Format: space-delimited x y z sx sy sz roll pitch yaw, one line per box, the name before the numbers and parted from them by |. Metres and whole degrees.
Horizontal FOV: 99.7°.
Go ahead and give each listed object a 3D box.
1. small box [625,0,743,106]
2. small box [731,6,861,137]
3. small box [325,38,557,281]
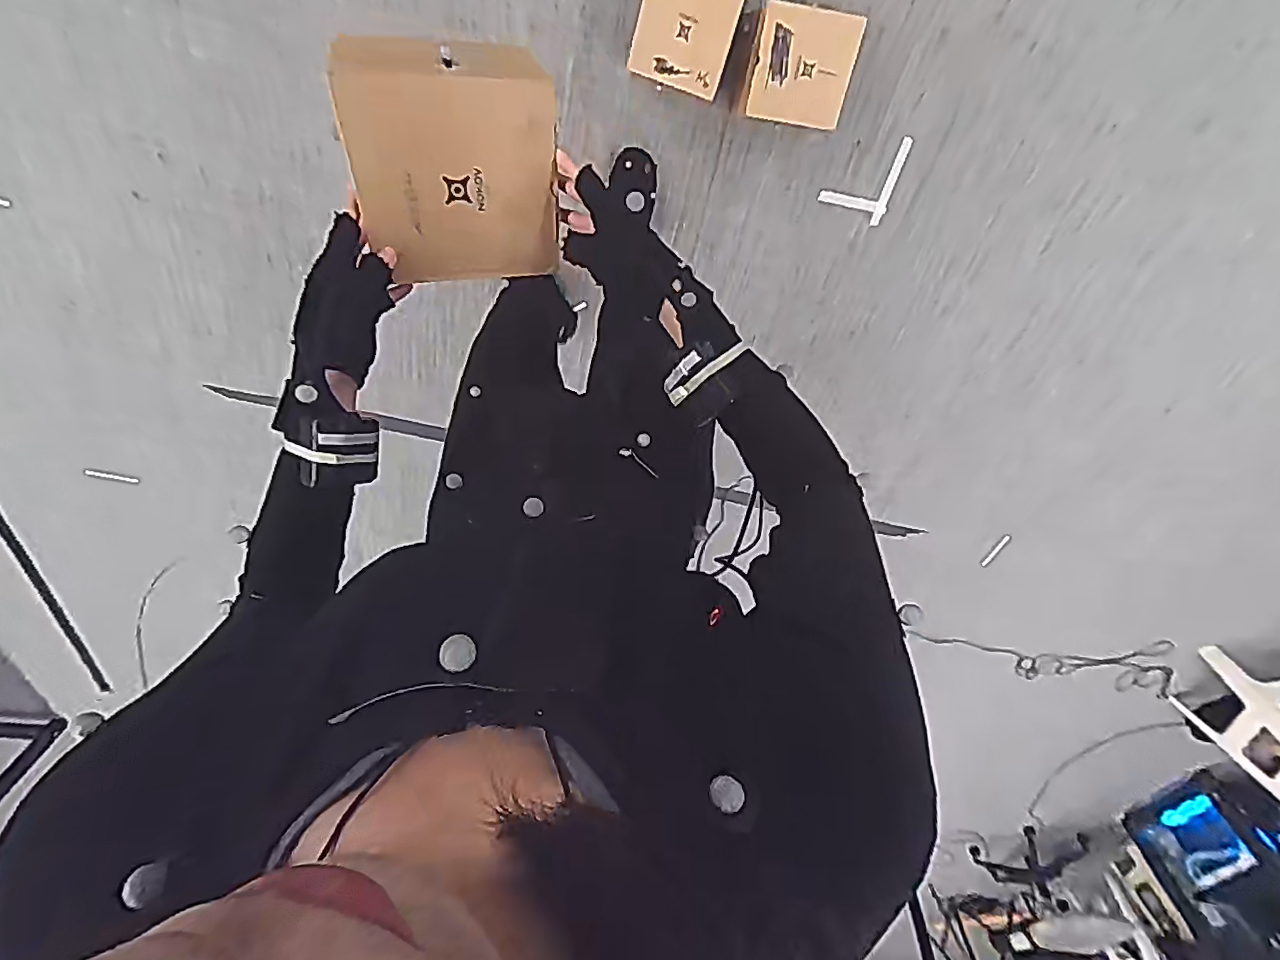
small box | 0.073 -0.814 0.989 0.168 0.176 0.179 15 124 -10
small box | 0.280 -0.765 1.023 0.179 0.176 0.168 7 126 -5
small box | -0.187 -0.316 0.530 0.179 0.176 0.168 -10 137 -16
